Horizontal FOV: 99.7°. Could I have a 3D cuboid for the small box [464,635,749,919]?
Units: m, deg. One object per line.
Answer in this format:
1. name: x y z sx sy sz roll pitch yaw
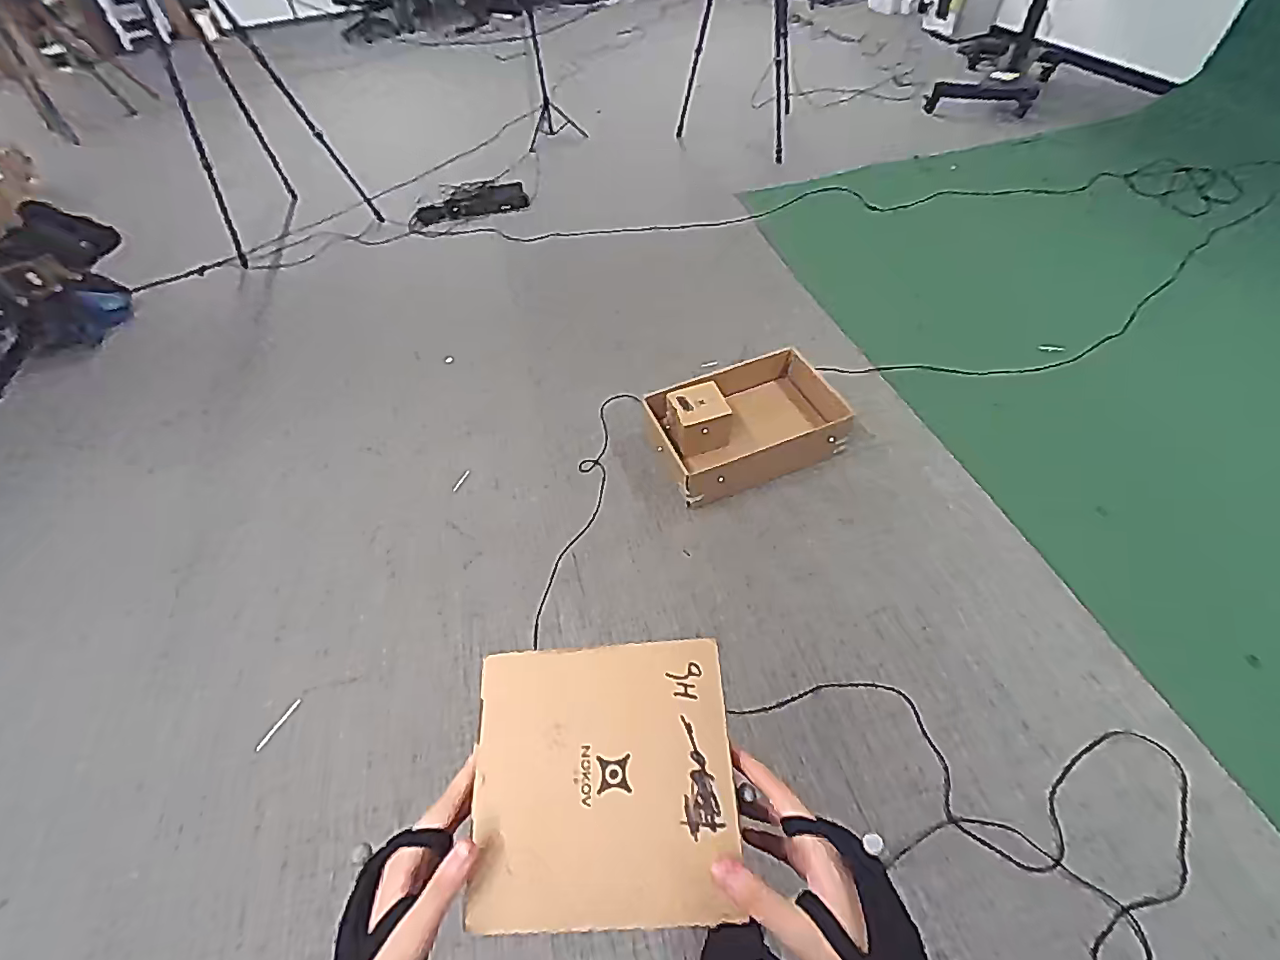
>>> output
1. small box: -0.016 0.226 0.428 0.179 0.176 0.168 -4 62 3
